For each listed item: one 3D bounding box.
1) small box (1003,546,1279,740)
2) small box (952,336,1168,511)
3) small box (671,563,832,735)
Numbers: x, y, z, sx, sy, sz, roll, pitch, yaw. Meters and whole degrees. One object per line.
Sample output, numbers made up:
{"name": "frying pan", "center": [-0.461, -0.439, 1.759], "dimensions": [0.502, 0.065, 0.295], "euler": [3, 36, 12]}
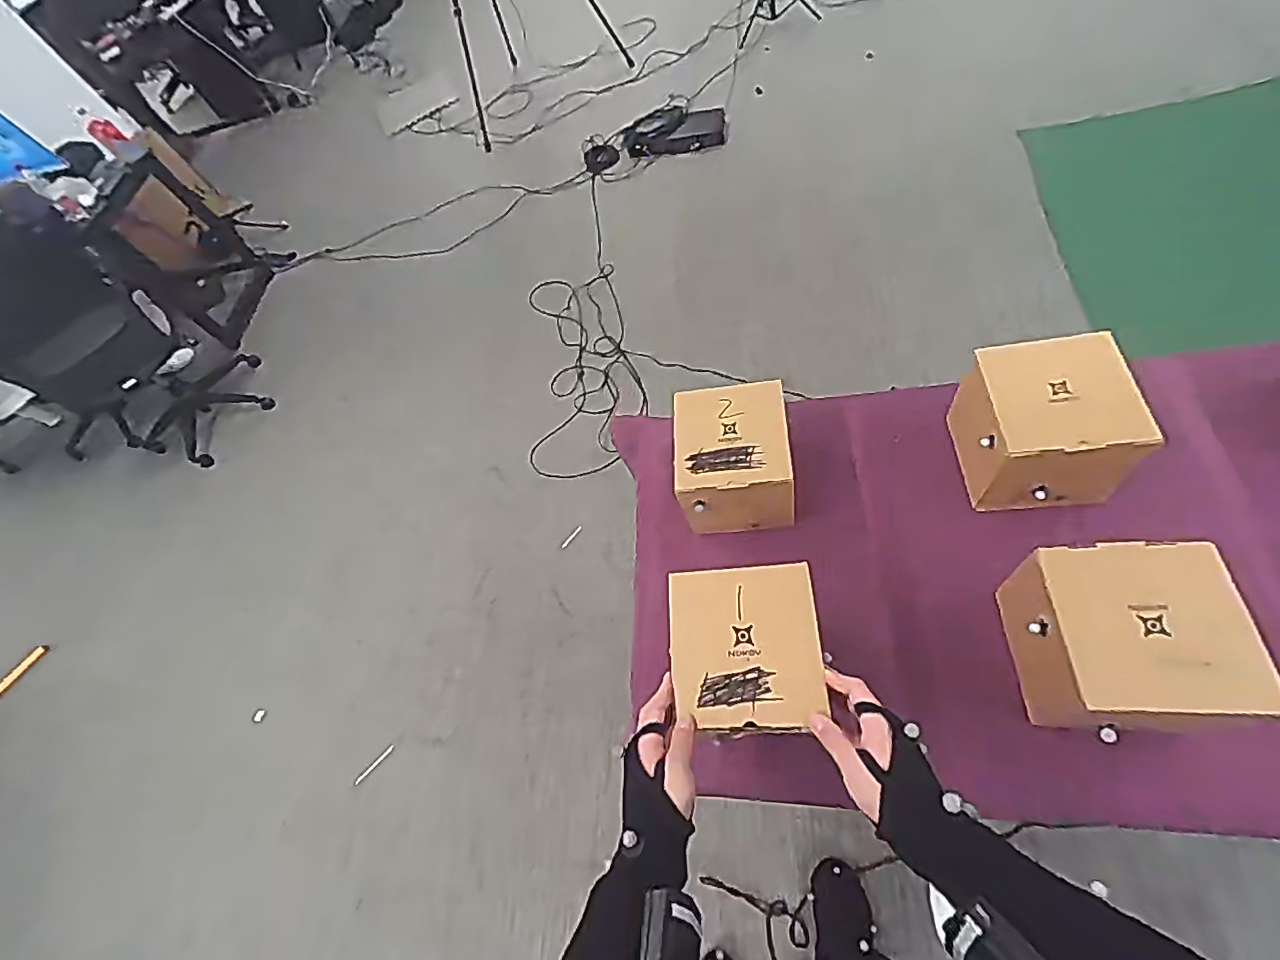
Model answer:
{"name": "small box", "center": [0.545, 0.188, 0.617], "dimensions": [0.168, 0.176, 0.179], "euler": [-4, 60, 15]}
{"name": "small box", "center": [0.564, -0.072, 0.761], "dimensions": [0.168, 0.176, 0.179], "euler": [-5, 62, 13]}
{"name": "small box", "center": [0.135, 0.214, 0.660], "dimensions": [0.168, 0.176, 0.179], "euler": [-6, 62, 12]}
